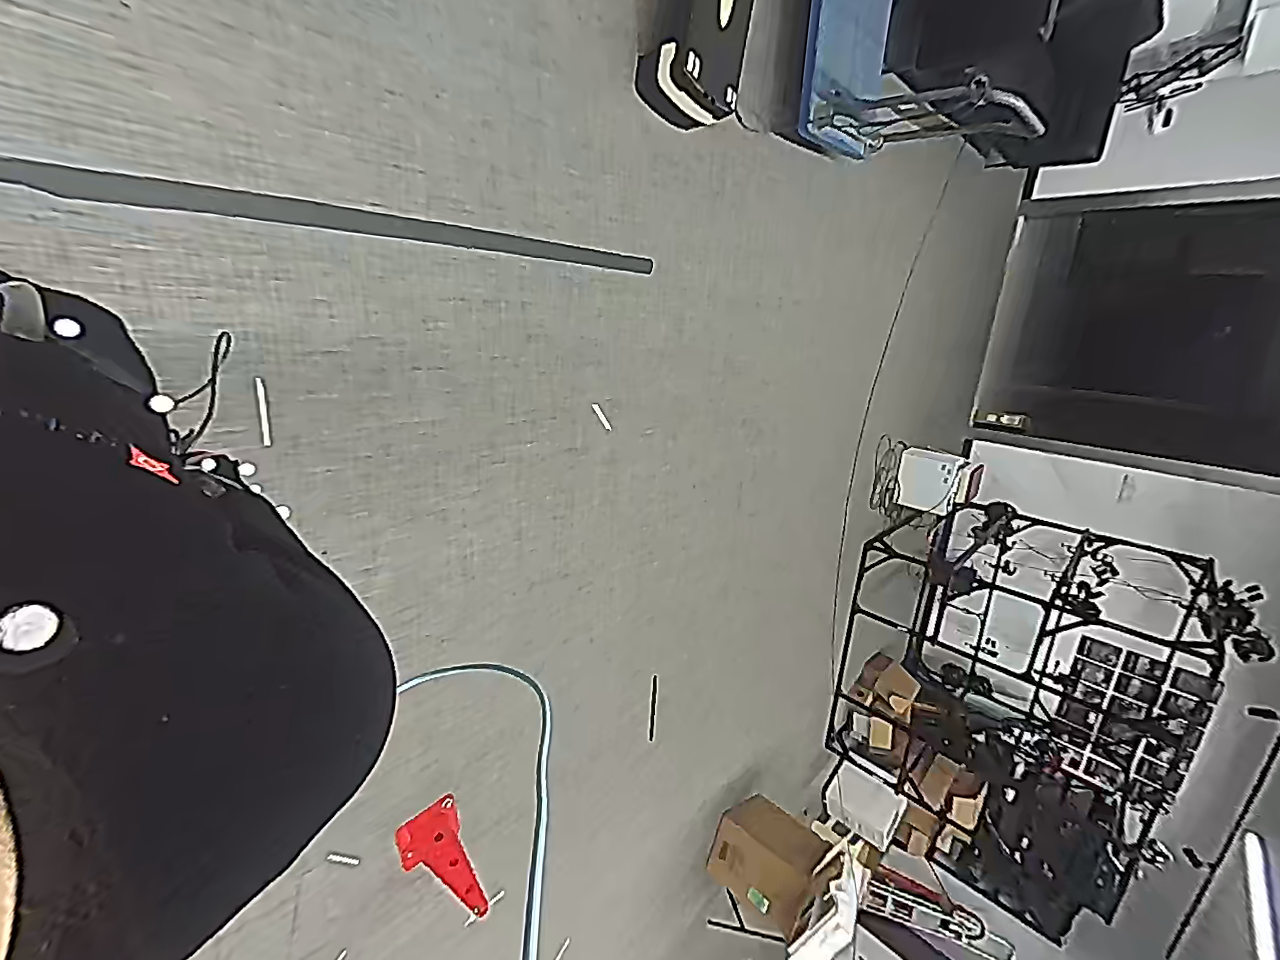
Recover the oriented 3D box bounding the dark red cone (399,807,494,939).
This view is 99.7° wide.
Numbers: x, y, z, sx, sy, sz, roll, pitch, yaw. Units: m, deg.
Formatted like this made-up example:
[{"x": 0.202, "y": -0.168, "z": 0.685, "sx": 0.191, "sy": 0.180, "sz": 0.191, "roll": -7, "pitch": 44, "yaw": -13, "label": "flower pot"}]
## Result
[{"x": -0.568, "y": 1.240, "z": 1.669, "sx": 0.201, "sy": 0.394, "sz": 0.202, "roll": -22, "pitch": 119, "yaw": -40, "label": "dark red cone"}]
